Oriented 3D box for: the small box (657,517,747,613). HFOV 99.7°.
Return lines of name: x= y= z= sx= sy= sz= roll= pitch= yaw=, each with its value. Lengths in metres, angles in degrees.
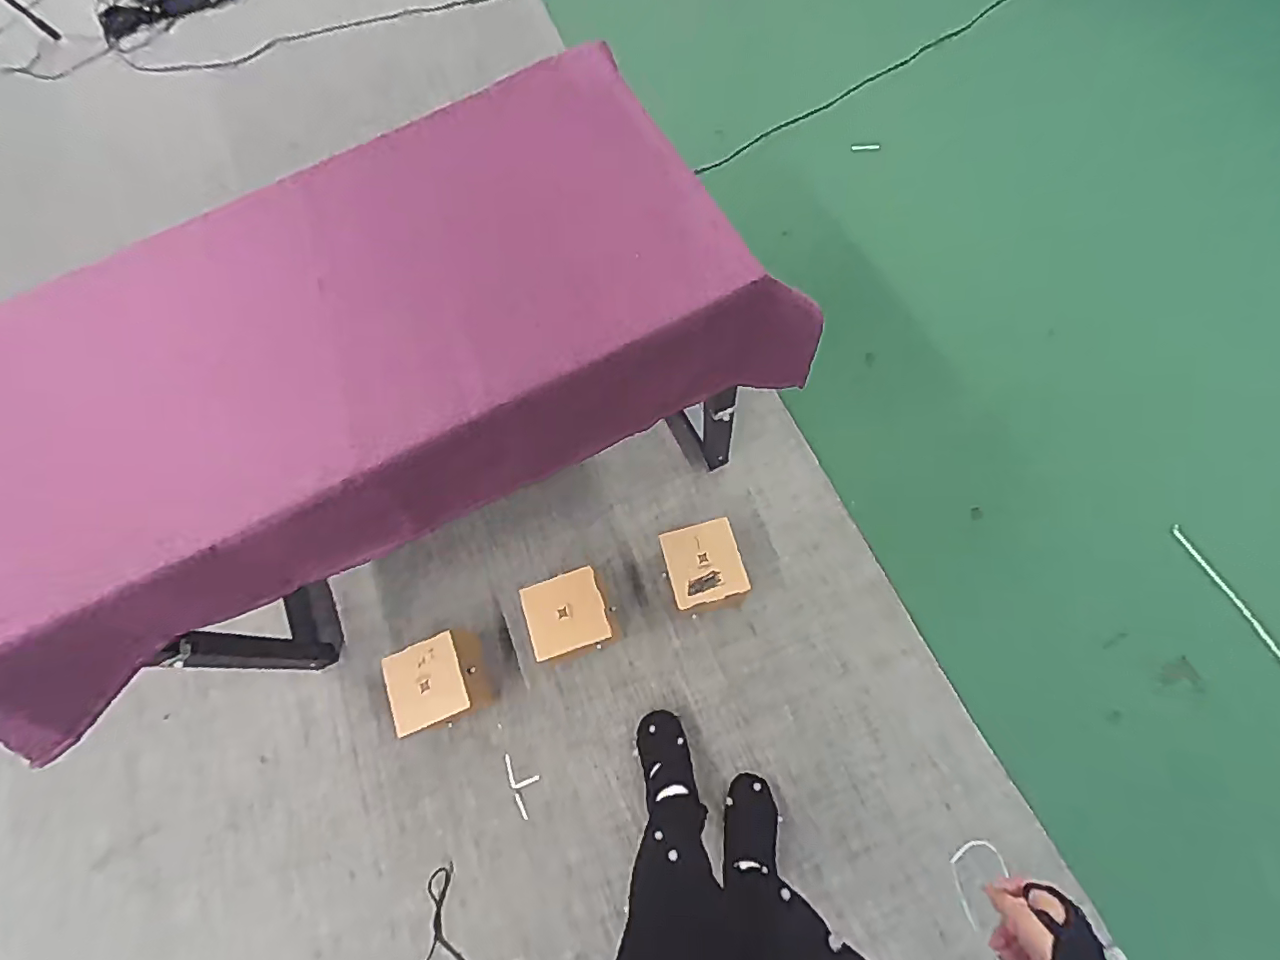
small box: x=0.146 y=0.209 z=1.280 sx=0.168 sy=0.176 sz=0.179 roll=-16 pitch=68 yaw=0
